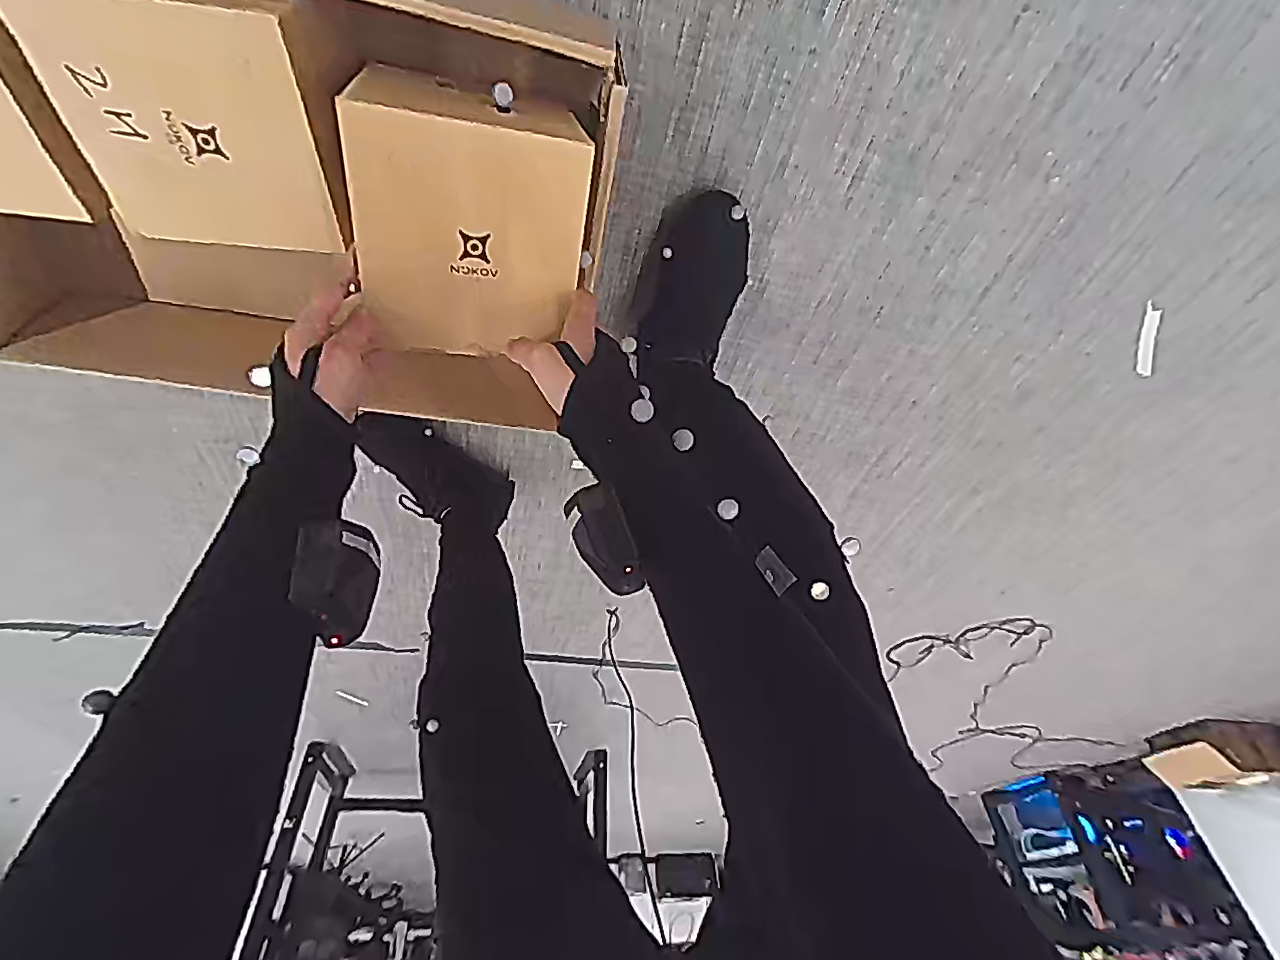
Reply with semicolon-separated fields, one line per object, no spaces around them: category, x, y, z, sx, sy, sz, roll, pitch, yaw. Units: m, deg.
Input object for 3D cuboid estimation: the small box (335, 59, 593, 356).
small box;-0.146;-0.229;0.460;0.168;0.176;0.179;0;133;-18
